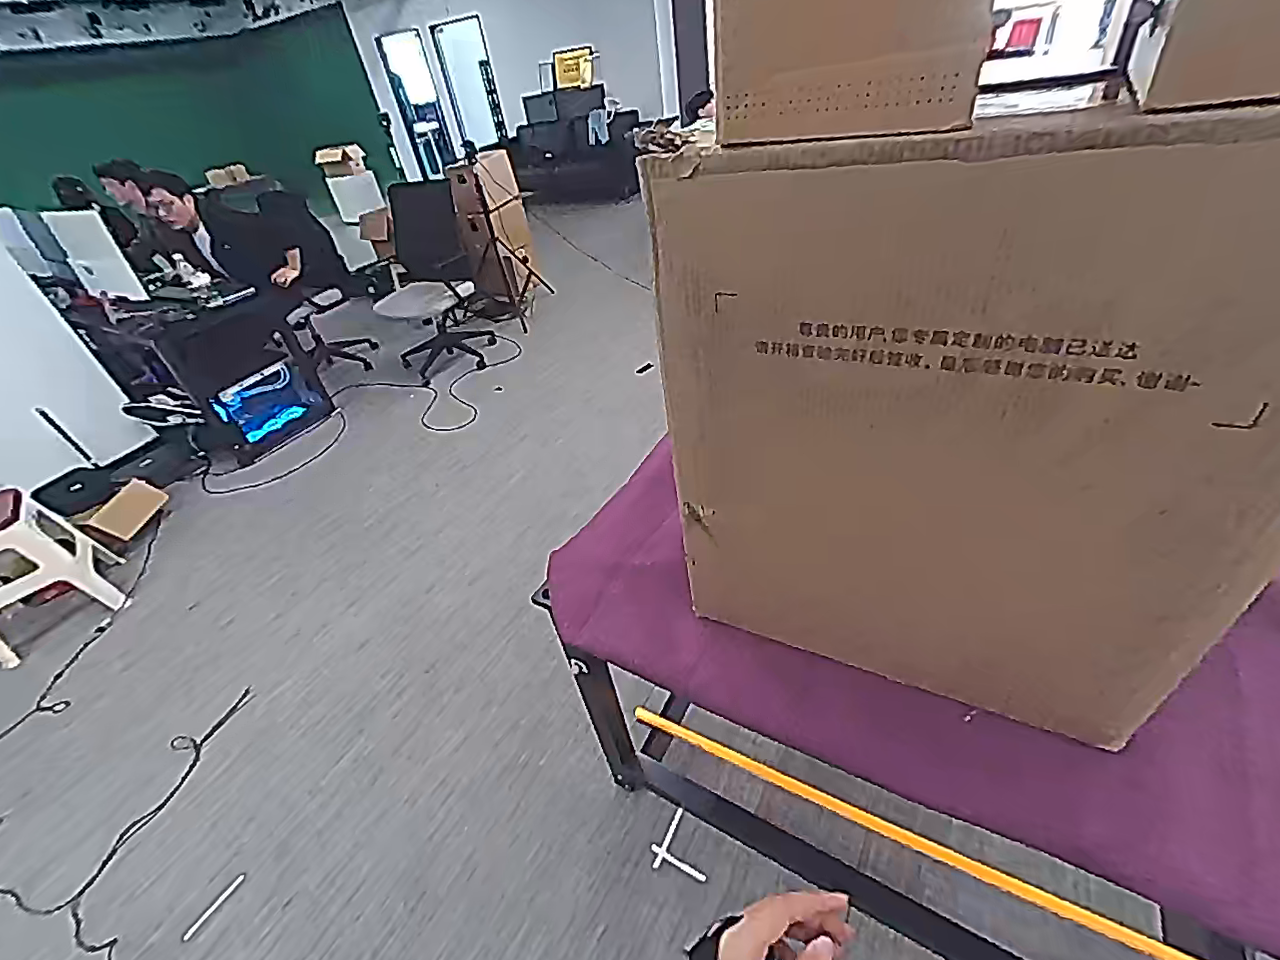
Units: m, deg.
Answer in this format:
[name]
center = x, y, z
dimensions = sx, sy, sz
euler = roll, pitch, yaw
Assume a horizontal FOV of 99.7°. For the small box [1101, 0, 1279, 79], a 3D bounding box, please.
[small box]
center = 0.487, -0.426, 0.416
dimensions = 0.168, 0.176, 0.179
euler = 14, 44, 29
